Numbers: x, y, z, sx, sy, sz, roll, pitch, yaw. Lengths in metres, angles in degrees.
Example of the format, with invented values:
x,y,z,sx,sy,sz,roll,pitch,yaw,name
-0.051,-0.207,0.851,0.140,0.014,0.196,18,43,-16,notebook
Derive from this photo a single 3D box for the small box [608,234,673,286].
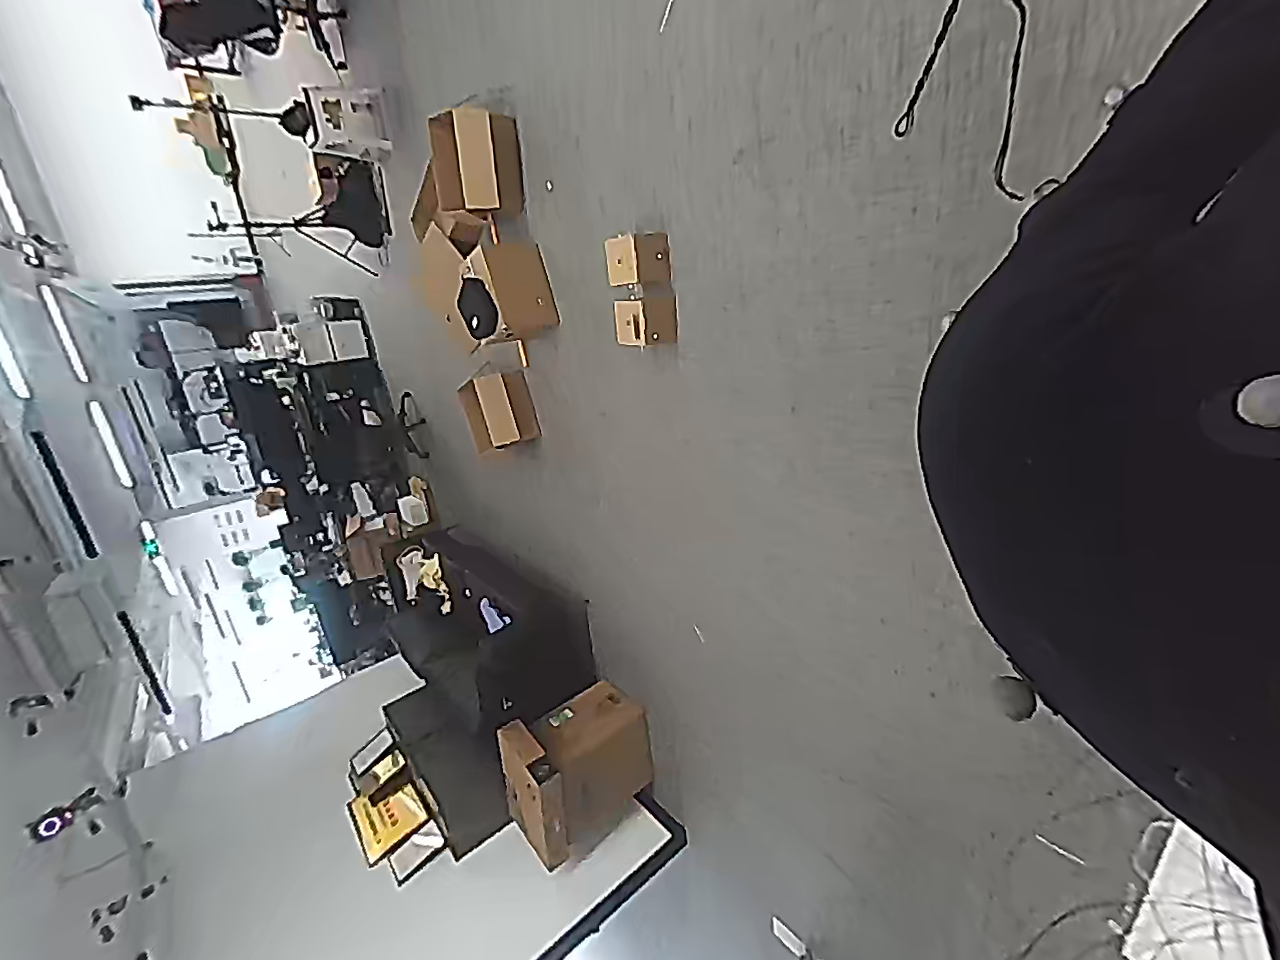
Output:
x,y,z,sx,sy,sz,roll,pitch,yaw,name
0.004,-0.835,2.053,0.179,0.176,0.168,16,119,49,small box
